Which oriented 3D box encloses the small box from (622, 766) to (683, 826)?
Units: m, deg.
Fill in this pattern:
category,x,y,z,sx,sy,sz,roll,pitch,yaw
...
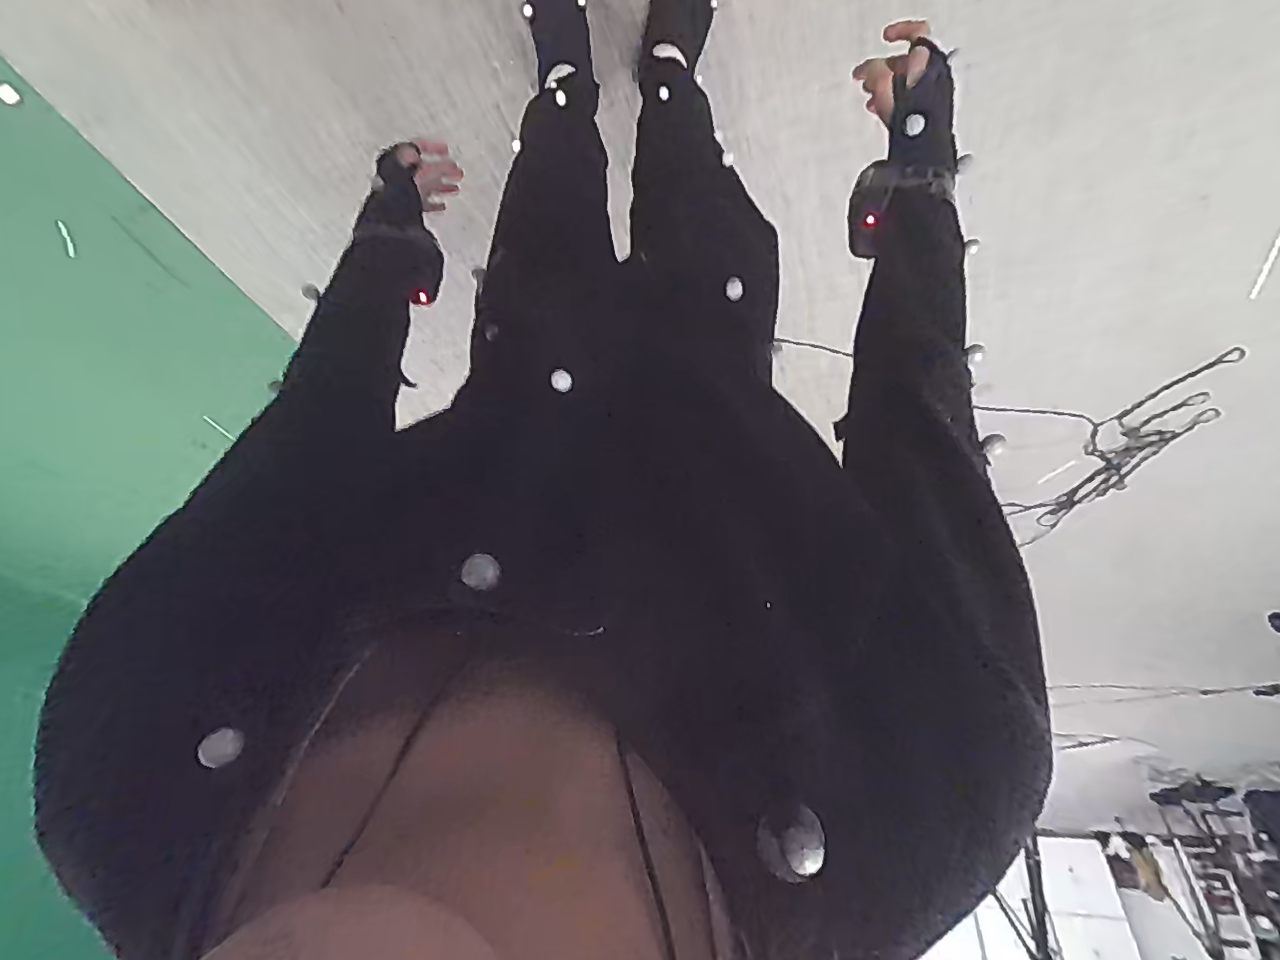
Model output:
category,x,y,z,sx,sy,sz,roll,pitch,yaw
small box,0.047,1.144,1.958,0.179,0.176,0.168,-12,139,21
